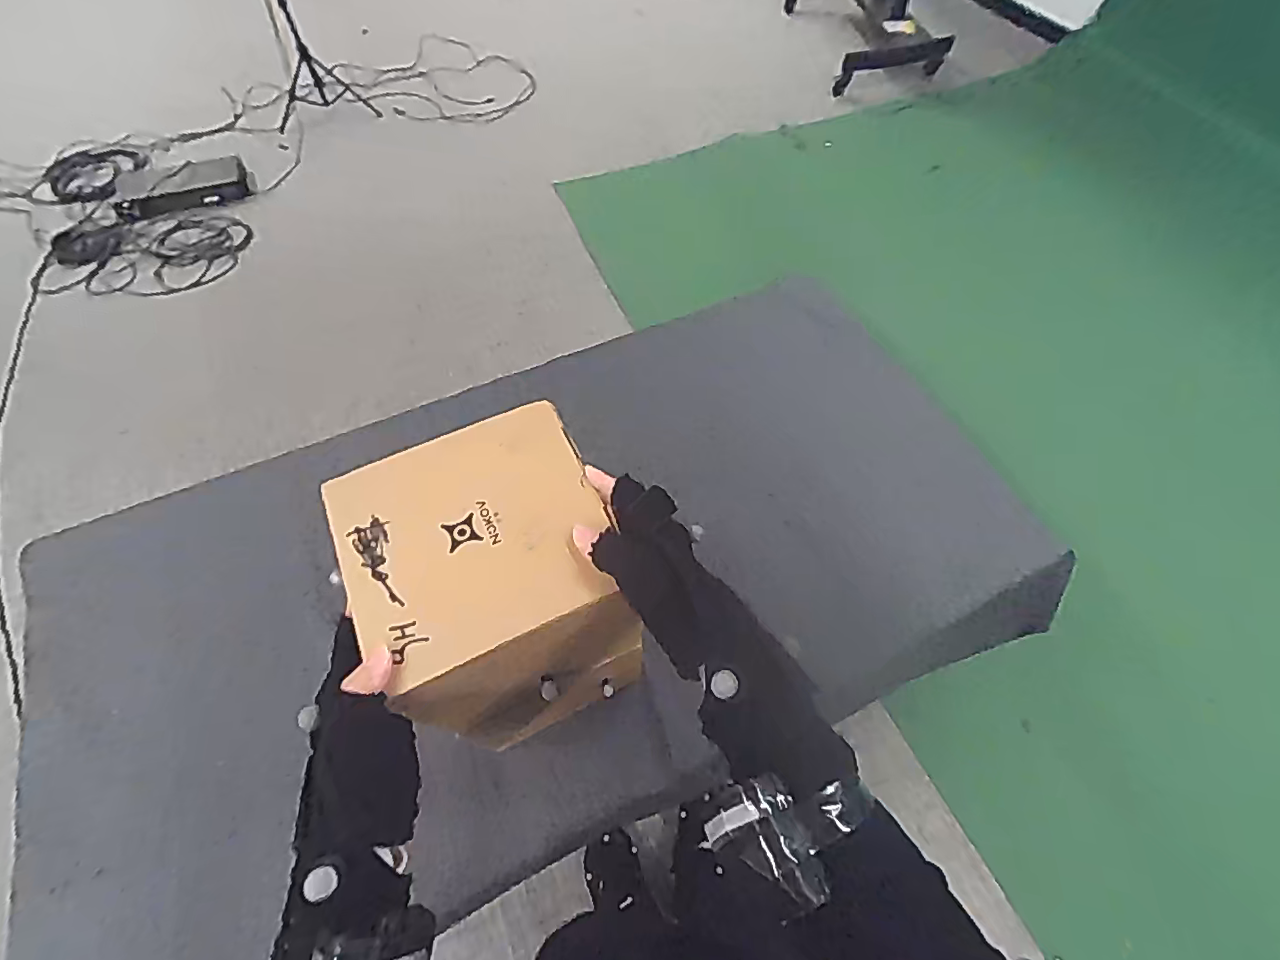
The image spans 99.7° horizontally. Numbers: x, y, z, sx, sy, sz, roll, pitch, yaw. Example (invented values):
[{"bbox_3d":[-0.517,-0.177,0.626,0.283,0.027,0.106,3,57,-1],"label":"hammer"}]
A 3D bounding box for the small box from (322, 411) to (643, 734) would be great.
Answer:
[{"bbox_3d":[-0.113,0.081,0.439,0.179,0.176,0.168,-26,63,-14],"label":"small box"}]

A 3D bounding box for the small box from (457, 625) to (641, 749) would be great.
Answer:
[{"bbox_3d":[-0.112,0.164,0.578,0.179,0.176,0.168,-25,62,-13],"label":"small box"}]
